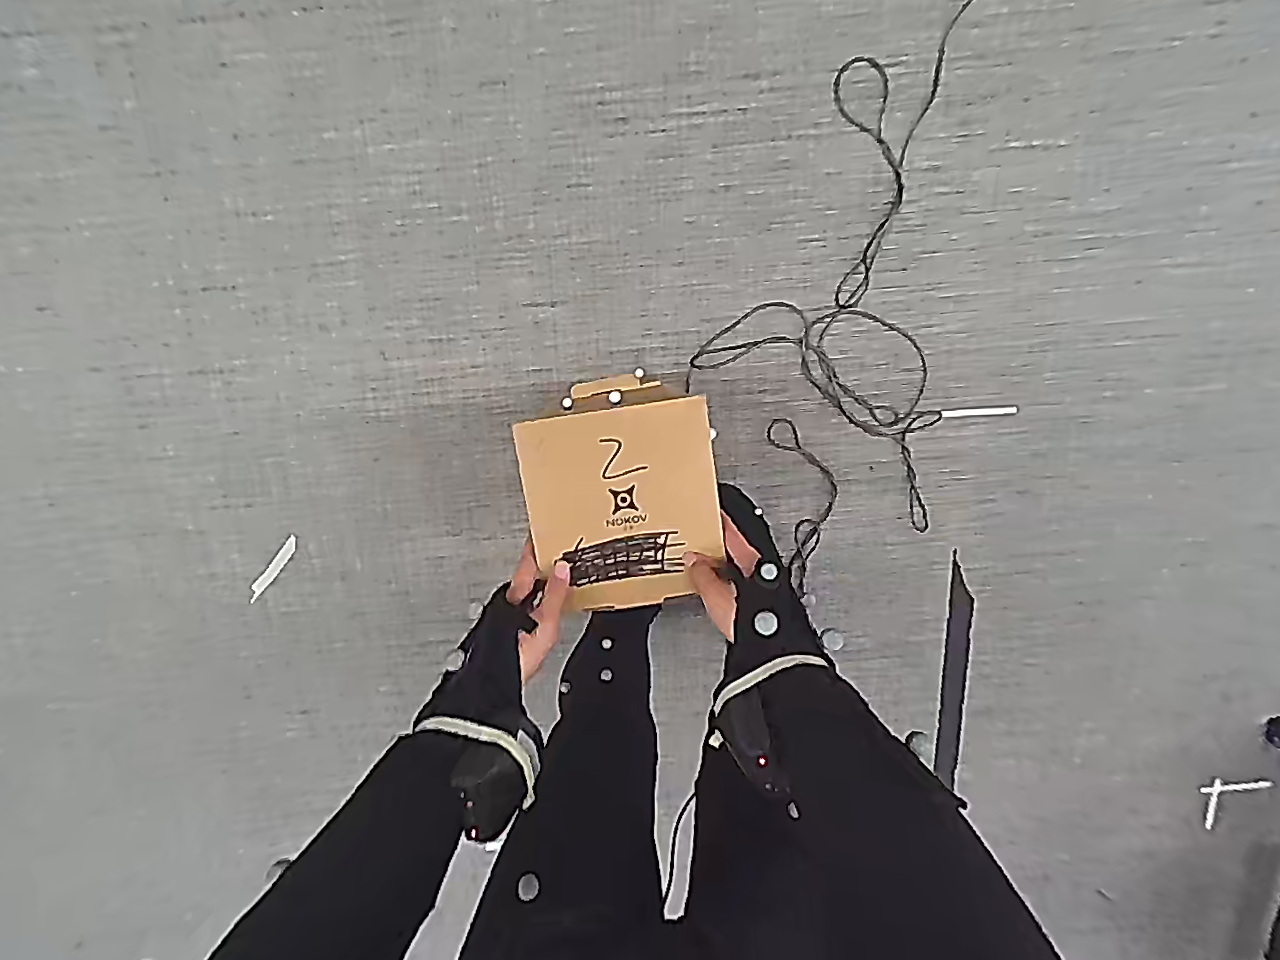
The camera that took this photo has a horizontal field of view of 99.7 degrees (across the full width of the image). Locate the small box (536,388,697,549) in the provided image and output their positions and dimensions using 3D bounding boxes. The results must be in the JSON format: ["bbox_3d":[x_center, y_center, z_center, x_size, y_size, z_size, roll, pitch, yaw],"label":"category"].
[{"bbox_3d":[-0.027,-0.025,0.729,0.179,0.176,0.168,-9,105,3],"label":"small box"}]

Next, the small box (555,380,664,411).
[{"bbox_3d":[-0.032,-0.063,0.887,0.168,0.176,0.179,-11,105,3],"label":"small box"}]
